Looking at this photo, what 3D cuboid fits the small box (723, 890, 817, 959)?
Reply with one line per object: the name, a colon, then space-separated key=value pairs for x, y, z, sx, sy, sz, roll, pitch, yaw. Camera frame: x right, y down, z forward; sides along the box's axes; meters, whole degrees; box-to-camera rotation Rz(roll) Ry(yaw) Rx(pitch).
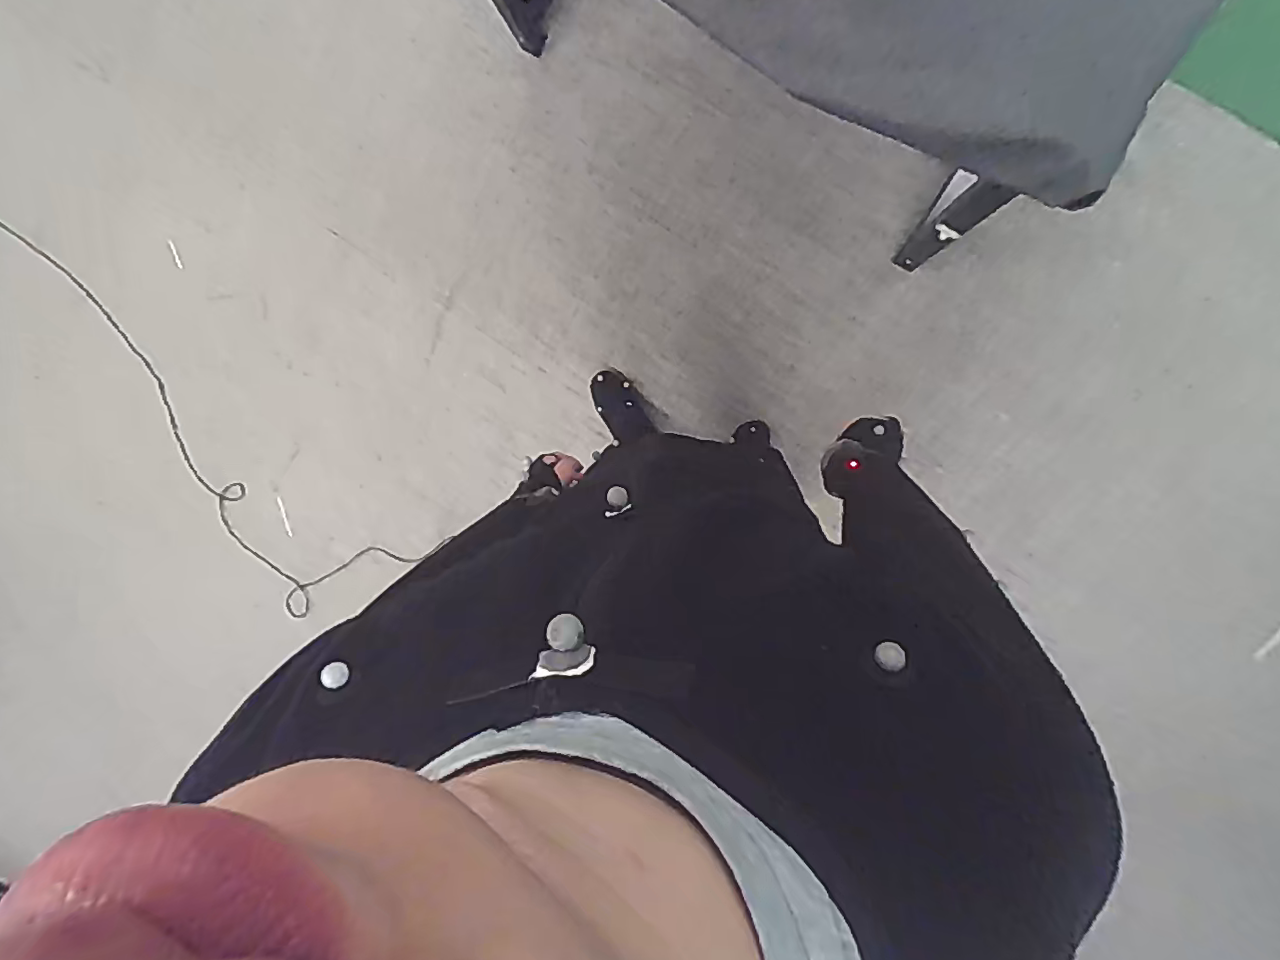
small box: x=0.307 y=1.145 z=1.304 sx=0.179 sy=0.176 sz=0.168 roll=24 pitch=106 yaw=4
